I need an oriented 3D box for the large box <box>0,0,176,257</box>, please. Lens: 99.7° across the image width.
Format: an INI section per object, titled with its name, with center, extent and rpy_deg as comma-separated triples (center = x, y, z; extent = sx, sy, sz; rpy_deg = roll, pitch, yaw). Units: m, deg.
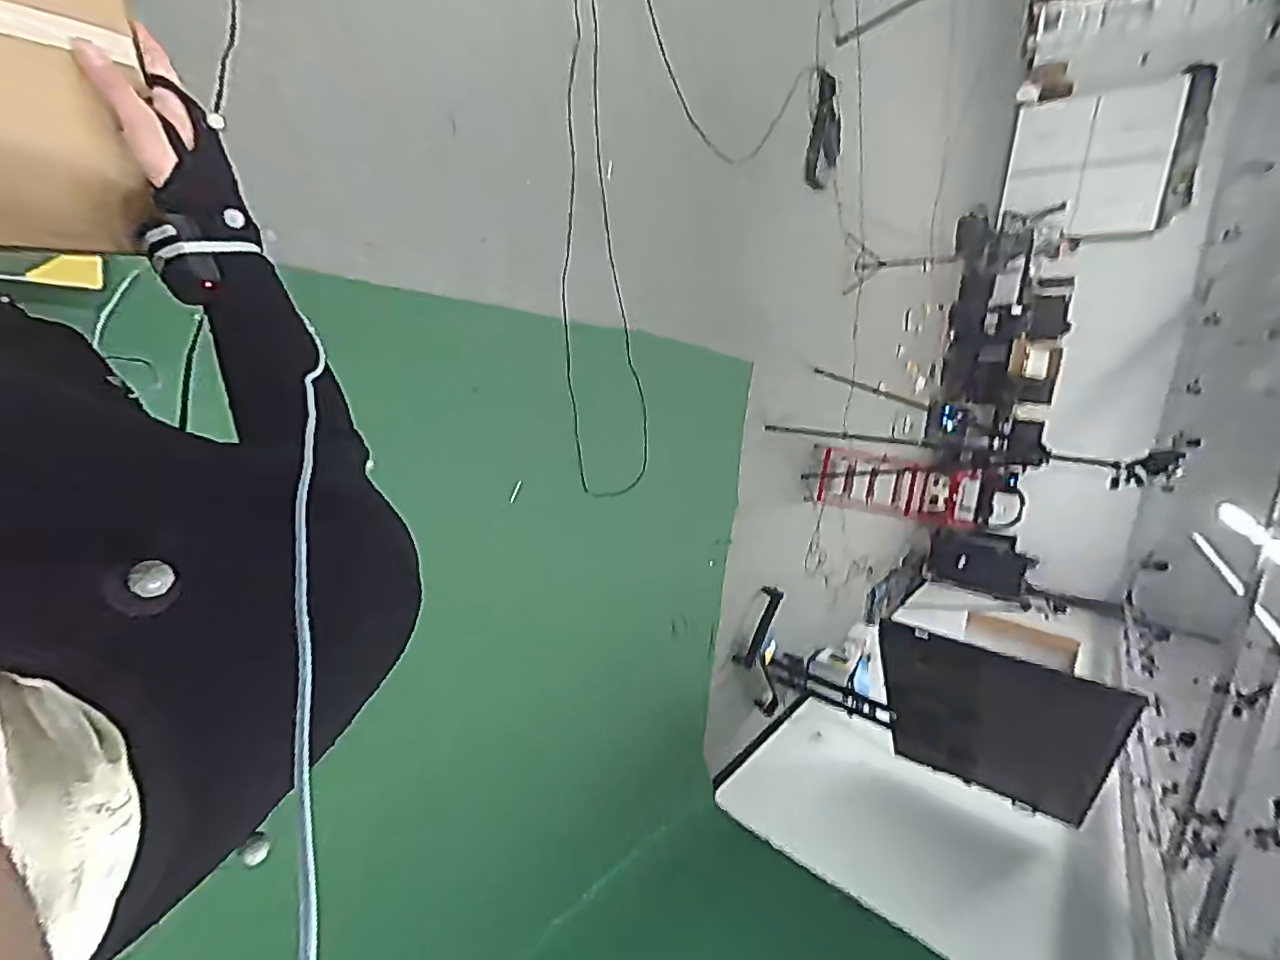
[large box]
center = -0.671, -0.345, 0.399
extent = 0.408, 0.320, 0.320
rpy_deg = -20, 120, -49
